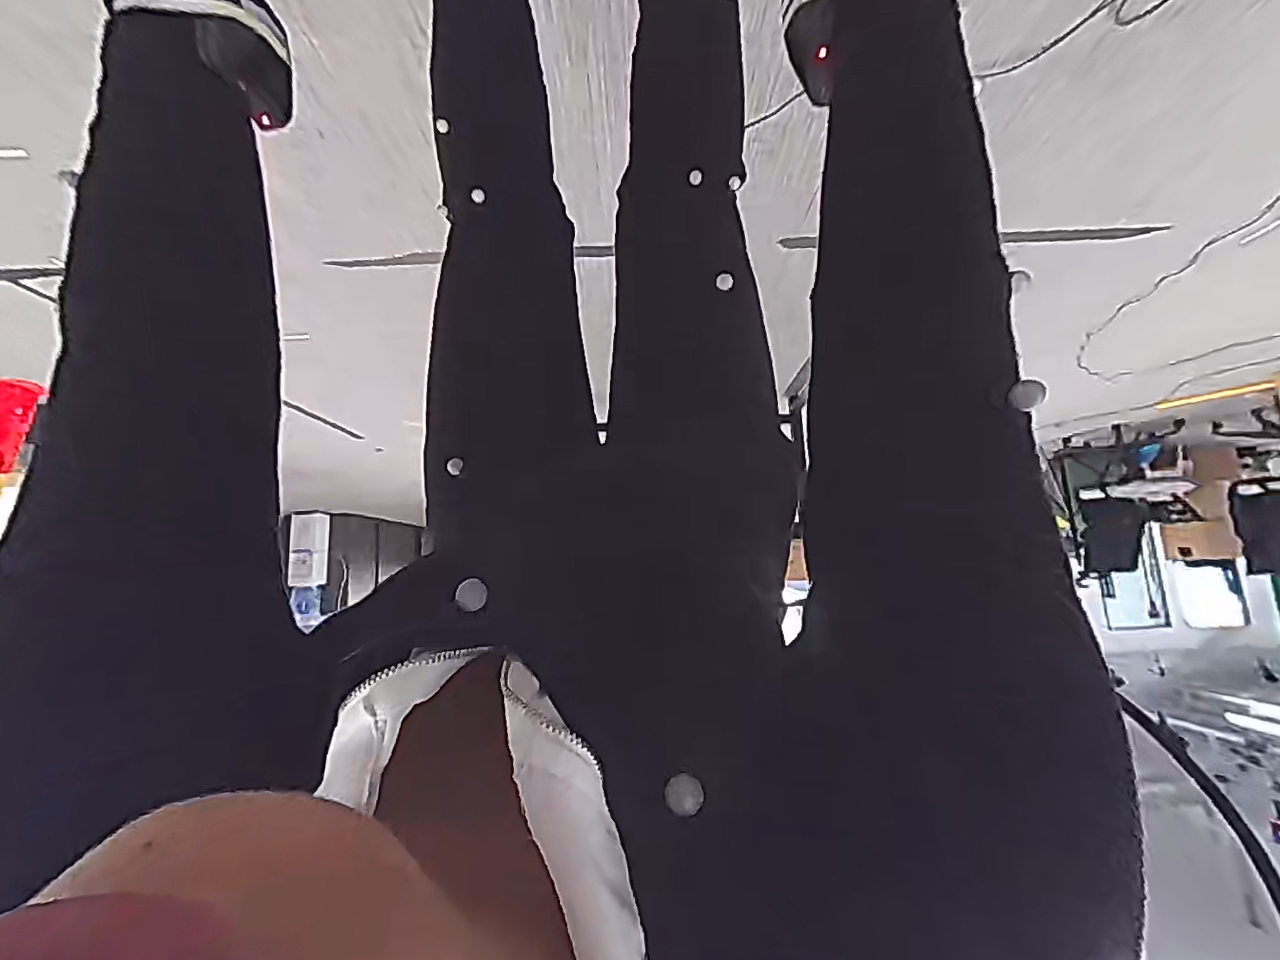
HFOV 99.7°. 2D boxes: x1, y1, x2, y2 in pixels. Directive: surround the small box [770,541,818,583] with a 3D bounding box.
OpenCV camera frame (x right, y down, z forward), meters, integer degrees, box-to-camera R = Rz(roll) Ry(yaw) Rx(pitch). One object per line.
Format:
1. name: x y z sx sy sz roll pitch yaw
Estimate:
1. small box: 0.657 0.351 2.324 0.168 0.176 0.179 -2 171 5
